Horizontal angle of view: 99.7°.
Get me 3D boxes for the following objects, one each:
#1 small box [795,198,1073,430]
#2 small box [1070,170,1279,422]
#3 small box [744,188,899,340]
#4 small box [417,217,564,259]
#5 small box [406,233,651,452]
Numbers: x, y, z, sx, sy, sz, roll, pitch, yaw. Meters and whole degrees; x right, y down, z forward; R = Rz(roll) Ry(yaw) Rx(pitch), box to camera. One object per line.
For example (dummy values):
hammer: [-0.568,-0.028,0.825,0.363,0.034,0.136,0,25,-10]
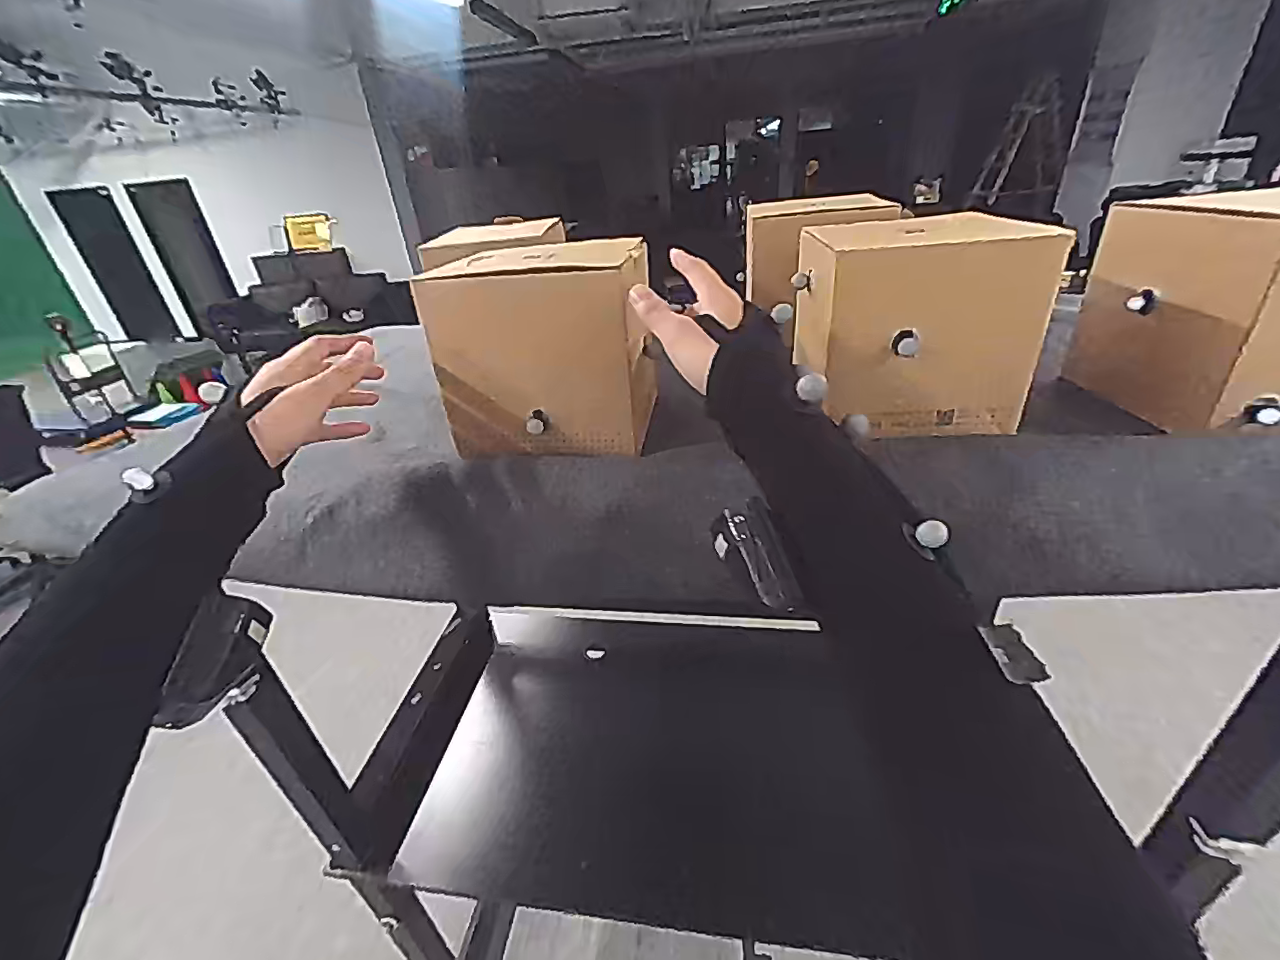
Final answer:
small box: [0.239,-0.151,0.494,0.168,0.176,0.179,-2,29,8]
small box: [0.508,-0.151,0.442,0.168,0.176,0.179,-3,29,5]
small box: [0.235,-0.296,0.744,0.179,0.176,0.168,0,31,10]
small box: [-0.196,-0.282,0.796,0.168,0.176,0.179,-5,30,4]
small box: [-0.084,-0.134,0.519,0.179,0.176,0.168,0,29,8]
